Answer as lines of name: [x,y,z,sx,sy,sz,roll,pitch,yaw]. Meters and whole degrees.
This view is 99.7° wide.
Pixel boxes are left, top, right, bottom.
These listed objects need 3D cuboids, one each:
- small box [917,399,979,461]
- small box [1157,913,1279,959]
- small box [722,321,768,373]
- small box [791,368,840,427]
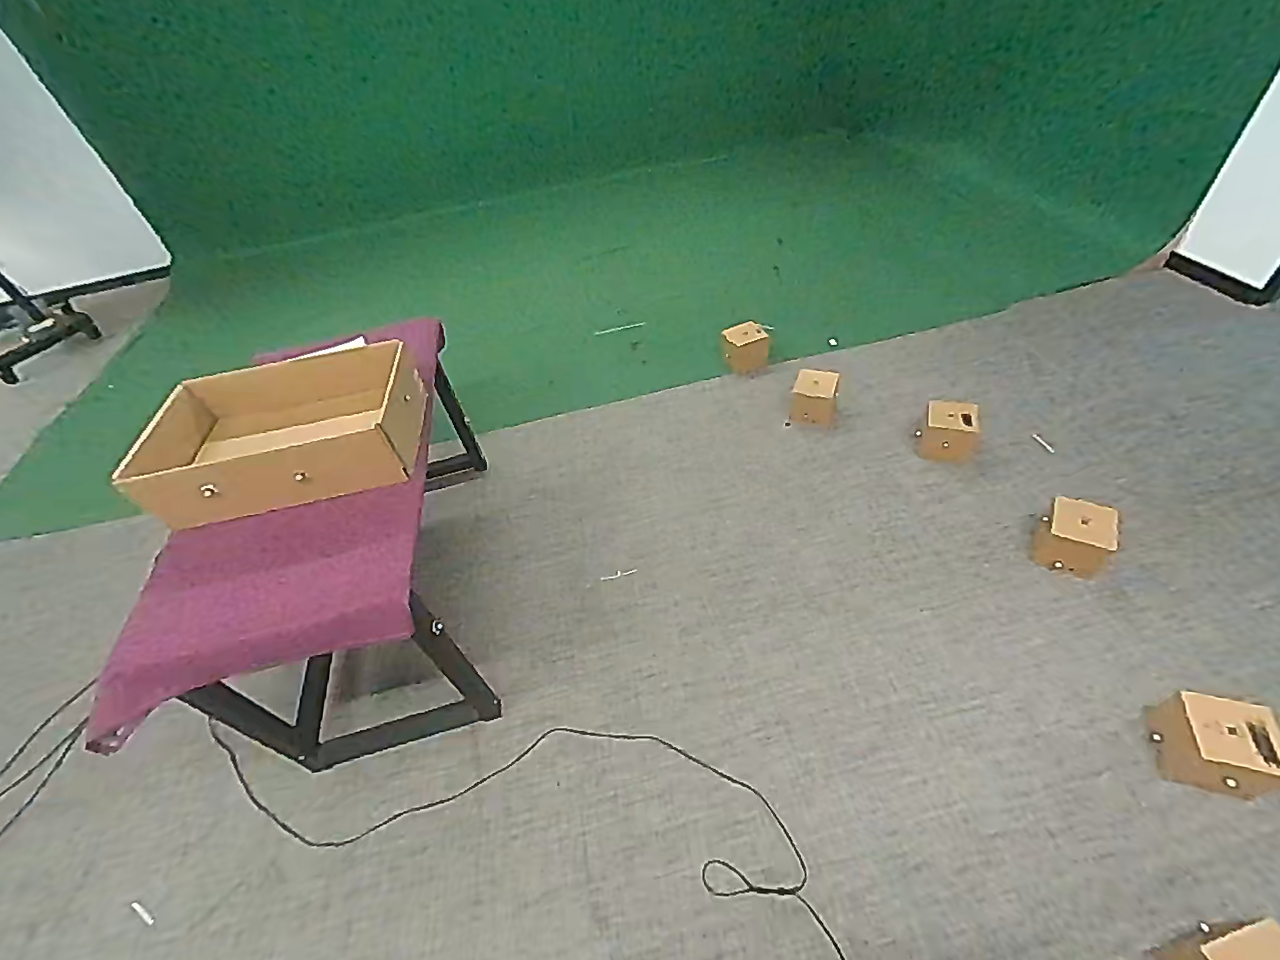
small box: [1.208,-0.193,2.125,0.179,0.176,0.168,10,49,19]
small box: [1.170,0.970,1.034,0.168,0.176,0.179,-17,47,-5]
small box: [0.522,-0.655,2.684,0.179,0.176,0.168,-22,47,-10]
small box: [0.764,-0.361,2.365,0.168,0.176,0.179,13,52,21]
